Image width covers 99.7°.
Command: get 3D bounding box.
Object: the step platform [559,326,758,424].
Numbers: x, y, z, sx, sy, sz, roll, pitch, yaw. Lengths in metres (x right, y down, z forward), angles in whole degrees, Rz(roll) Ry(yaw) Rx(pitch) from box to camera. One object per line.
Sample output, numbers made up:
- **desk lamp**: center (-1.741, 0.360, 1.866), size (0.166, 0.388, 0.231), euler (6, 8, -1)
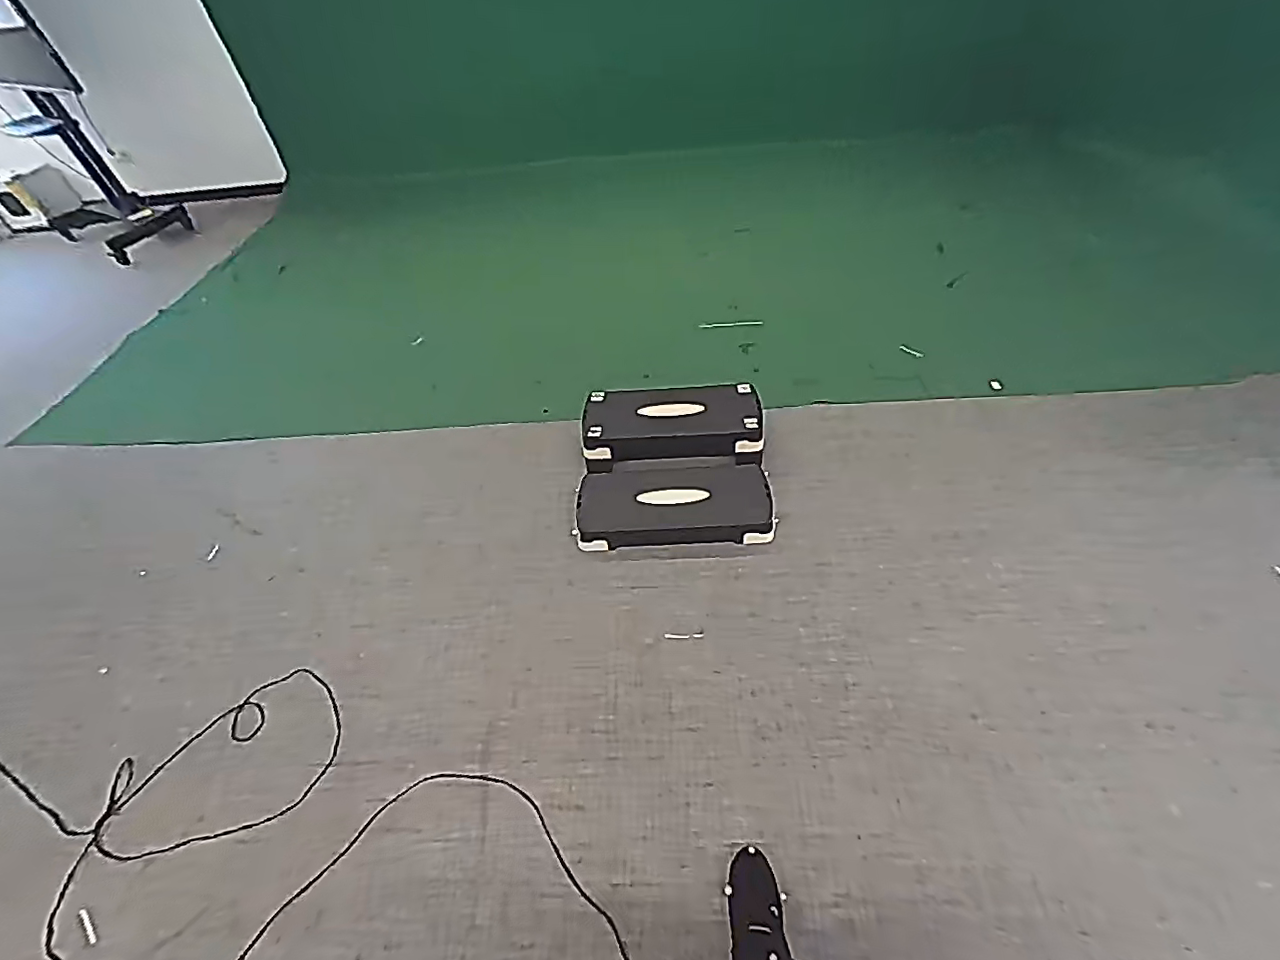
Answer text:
- **step platform**: center (0.067, -0.372, 1.929), size (0.684, 0.204, 0.286), euler (-3, 49, 4)
